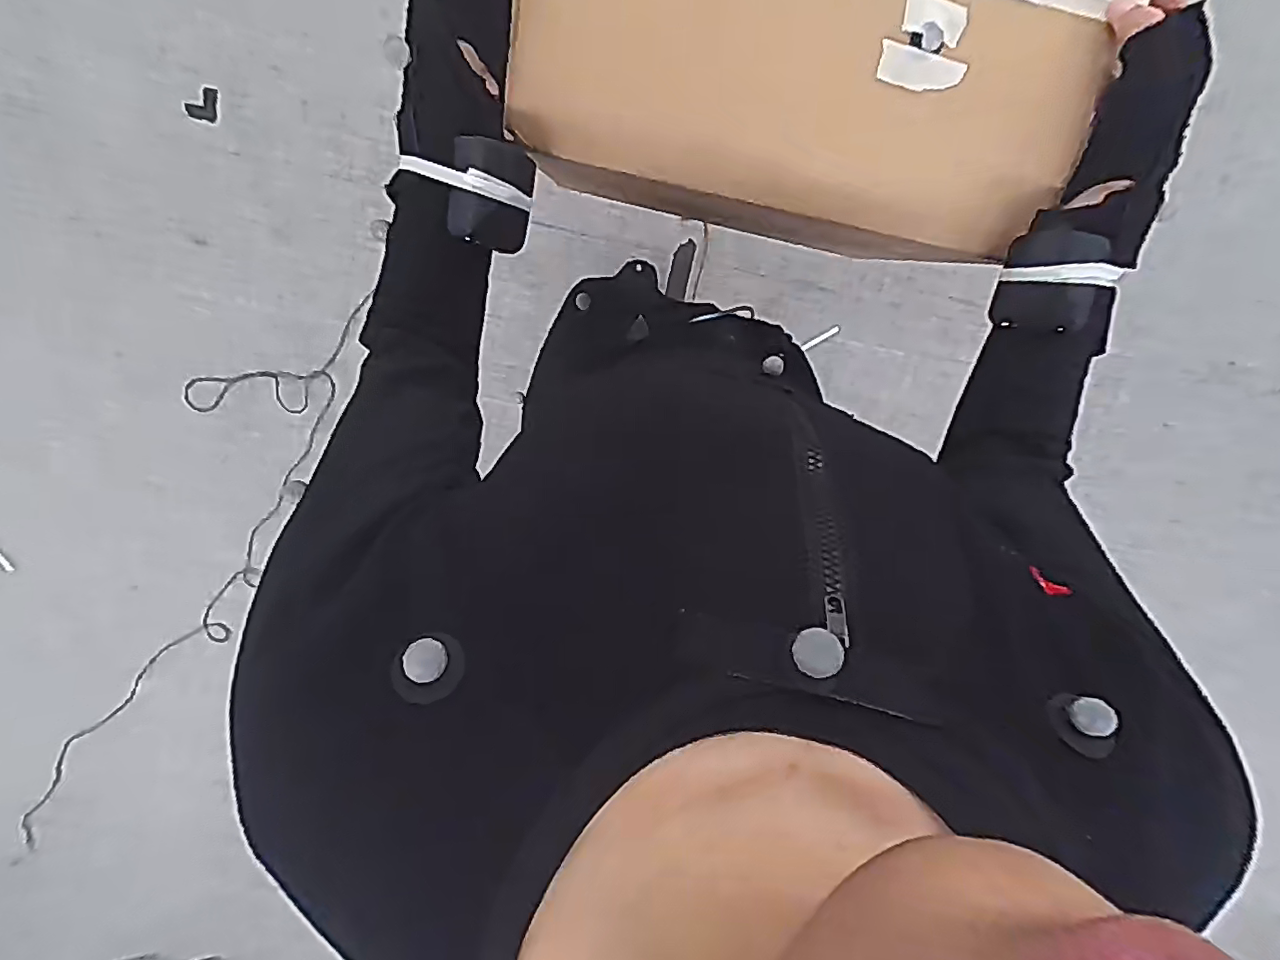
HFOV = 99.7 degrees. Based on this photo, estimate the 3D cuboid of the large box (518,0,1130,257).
[{"bbox_3d":[0.125,-0.403,0.484,0.408,0.320,0.320,10,114,-7],"label":"large box"}]
